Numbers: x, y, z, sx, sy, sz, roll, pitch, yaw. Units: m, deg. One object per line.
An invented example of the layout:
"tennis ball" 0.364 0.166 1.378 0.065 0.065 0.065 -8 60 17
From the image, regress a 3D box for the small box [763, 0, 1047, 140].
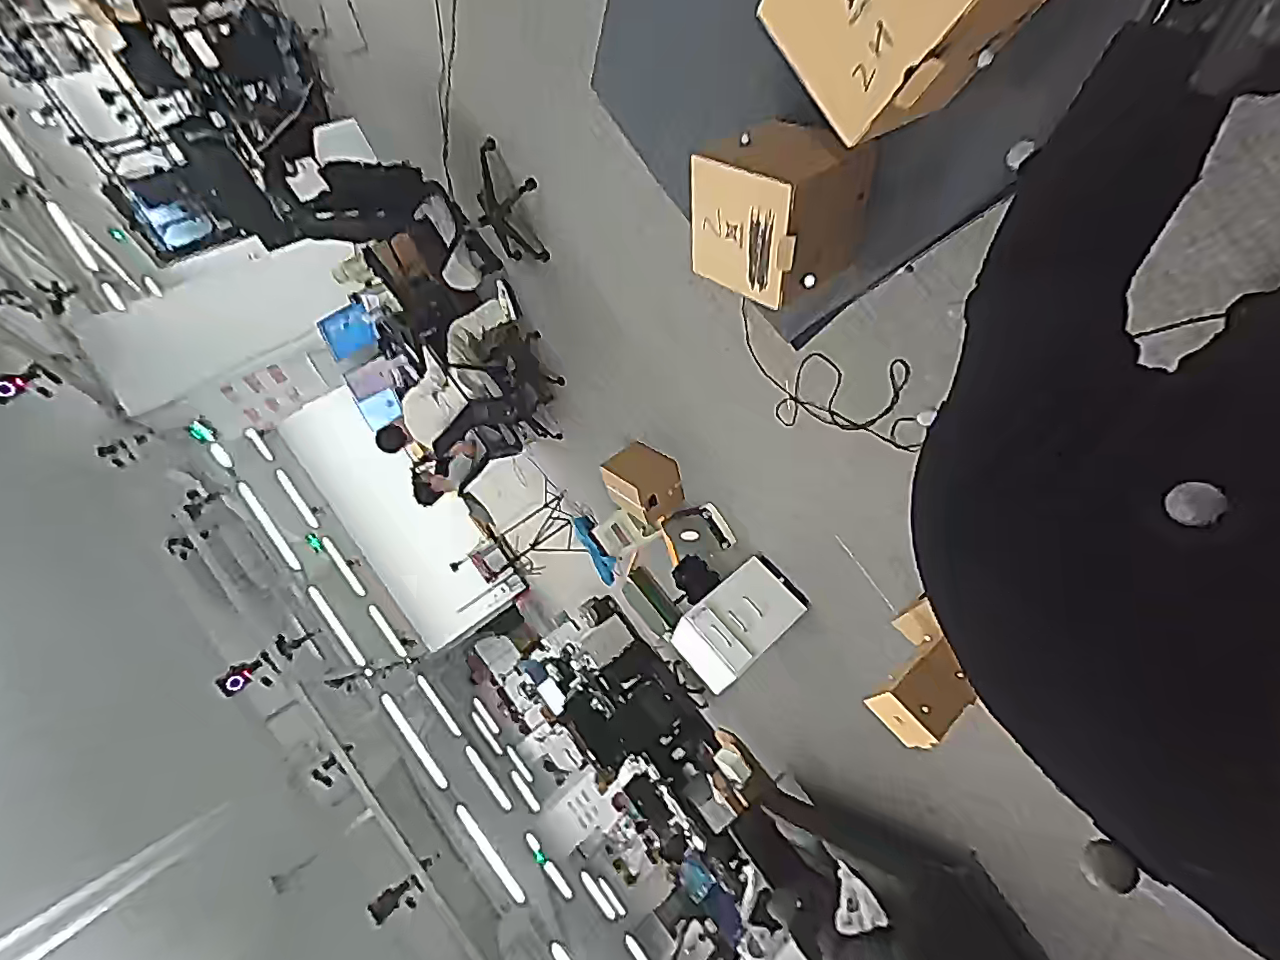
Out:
"small box" 0.259 -0.473 0.509 0.179 0.176 0.168 56 159 1

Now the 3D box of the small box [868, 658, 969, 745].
"small box" 0.836 0.659 1.626 0.179 0.176 0.168 46 155 19

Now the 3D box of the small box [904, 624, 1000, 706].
"small box" 0.967 0.583 1.685 0.179 0.176 0.168 47 155 20
